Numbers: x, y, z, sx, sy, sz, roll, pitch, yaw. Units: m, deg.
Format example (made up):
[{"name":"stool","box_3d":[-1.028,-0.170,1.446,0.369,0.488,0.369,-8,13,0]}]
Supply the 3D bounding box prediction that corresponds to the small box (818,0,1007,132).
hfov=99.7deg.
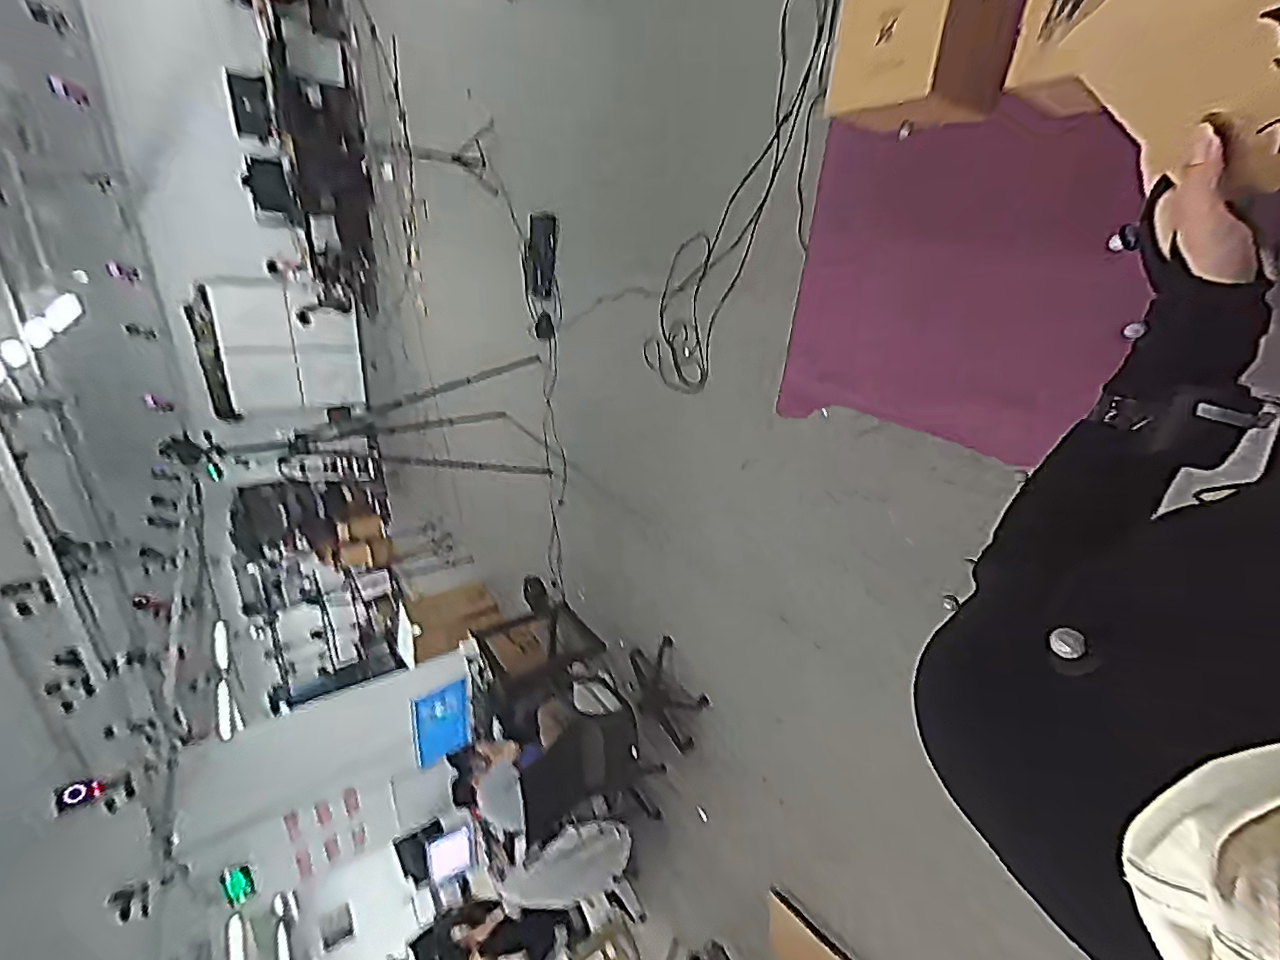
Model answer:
[{"name":"small box","box_3d":[0.385,-0.618,0.767,0.168,0.176,0.179,31,125,48]}]
